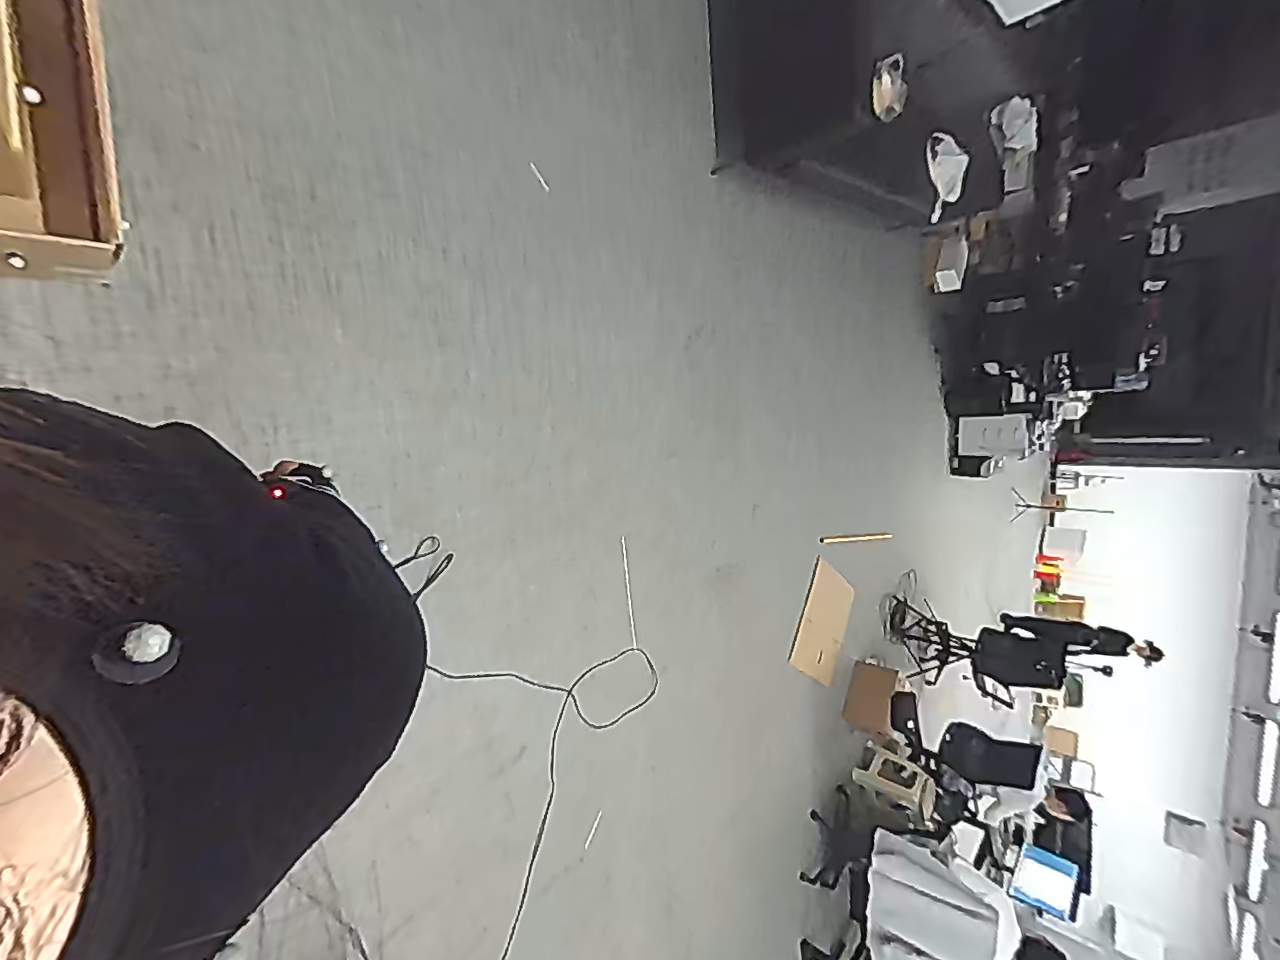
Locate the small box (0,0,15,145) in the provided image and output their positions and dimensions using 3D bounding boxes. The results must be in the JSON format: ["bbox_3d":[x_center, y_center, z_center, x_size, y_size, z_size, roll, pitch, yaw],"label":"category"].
[{"bbox_3d":[-0.674,-0.432,0.462,0.168,0.176,0.179,-5,98,-44],"label":"small box"}]
